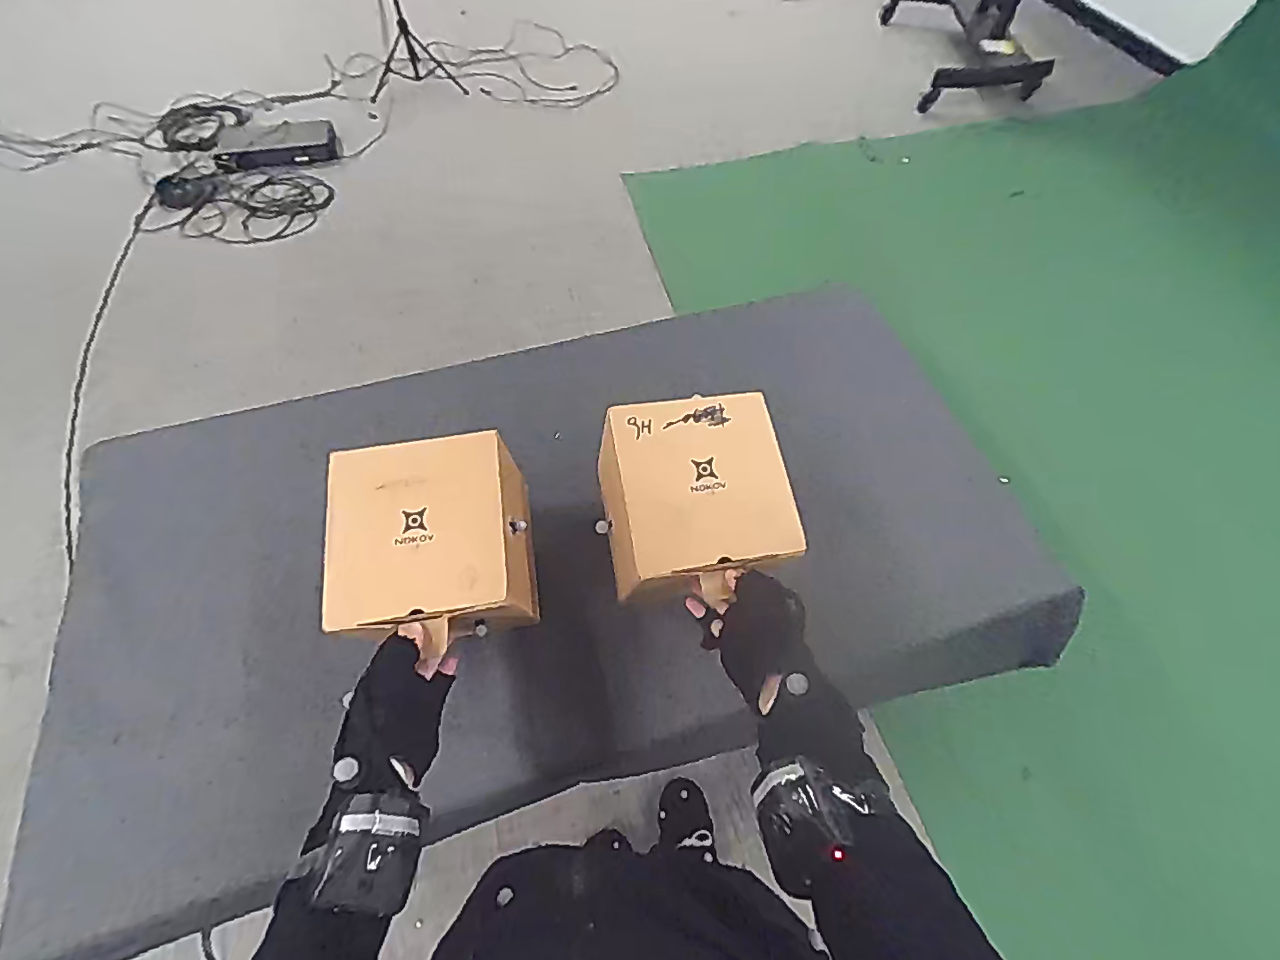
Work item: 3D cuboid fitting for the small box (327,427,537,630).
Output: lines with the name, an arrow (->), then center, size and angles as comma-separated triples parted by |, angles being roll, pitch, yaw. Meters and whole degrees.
small box -> -0.210, 0.063, 0.587 | 0.168, 0.176, 0.179 | -7, 70, -5

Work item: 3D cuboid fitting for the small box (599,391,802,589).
small box -> 0.052, 0.021, 0.601 | 0.168, 0.176, 0.179 | -6, 72, -12
